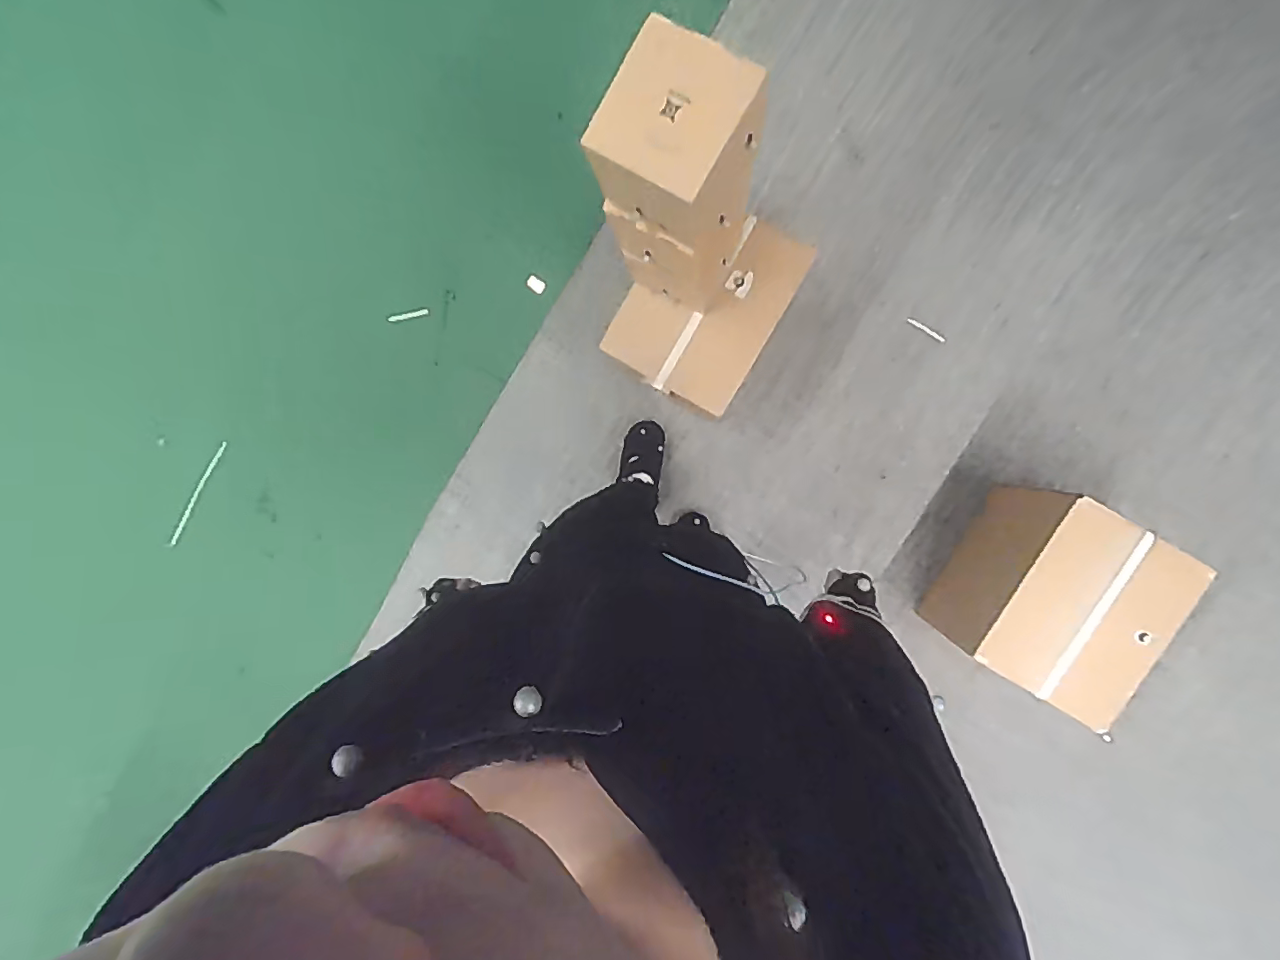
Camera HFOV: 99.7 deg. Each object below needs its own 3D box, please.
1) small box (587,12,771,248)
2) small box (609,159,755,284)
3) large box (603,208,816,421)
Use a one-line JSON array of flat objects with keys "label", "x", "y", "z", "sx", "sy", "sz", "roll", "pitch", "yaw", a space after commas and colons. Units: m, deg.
[{"label": "small box", "x": 0.055, "y": -0.455, "z": 0.734, "sx": 0.168, "sy": 0.176, "sz": 0.179, "roll": 33, "pitch": 98, "yaw": 6}, {"label": "small box", "x": 0.071, "y": -0.459, "z": 0.897, "sx": 0.168, "sy": 0.176, "sz": 0.179, "roll": 31, "pitch": 97, "yaw": 6}, {"label": "large box", "x": 0.159, "y": -0.393, "z": 1.302, "sx": 0.320, "sy": 0.320, "sz": 0.408, "roll": 31, "pitch": 95, "yaw": 4}]
